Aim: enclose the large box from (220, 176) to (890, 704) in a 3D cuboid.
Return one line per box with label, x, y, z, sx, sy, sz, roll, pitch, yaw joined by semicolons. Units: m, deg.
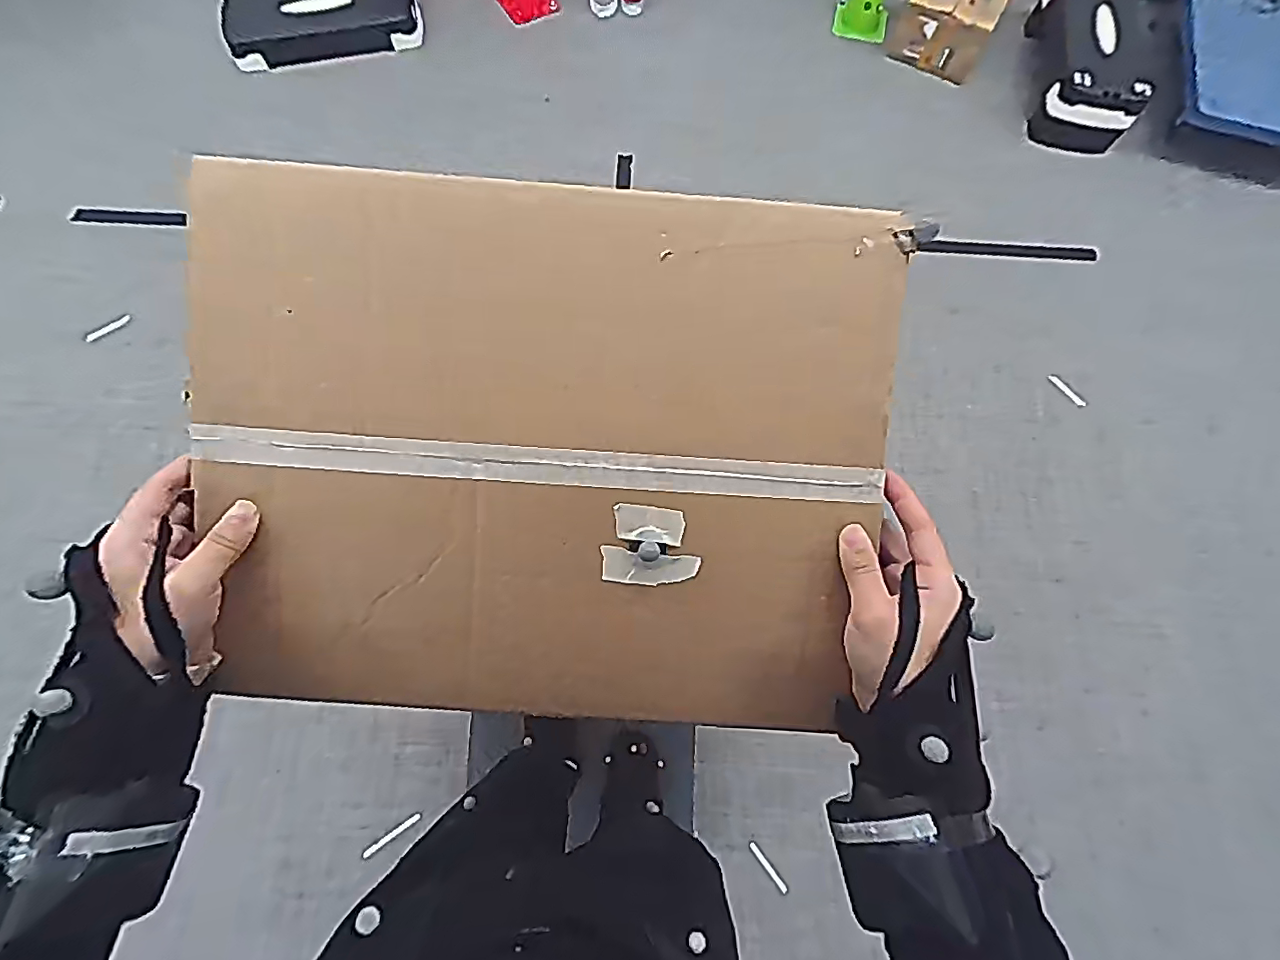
large box;-0.059;-0.030;0.481;0.408;0.320;0.320;4;97;-1
